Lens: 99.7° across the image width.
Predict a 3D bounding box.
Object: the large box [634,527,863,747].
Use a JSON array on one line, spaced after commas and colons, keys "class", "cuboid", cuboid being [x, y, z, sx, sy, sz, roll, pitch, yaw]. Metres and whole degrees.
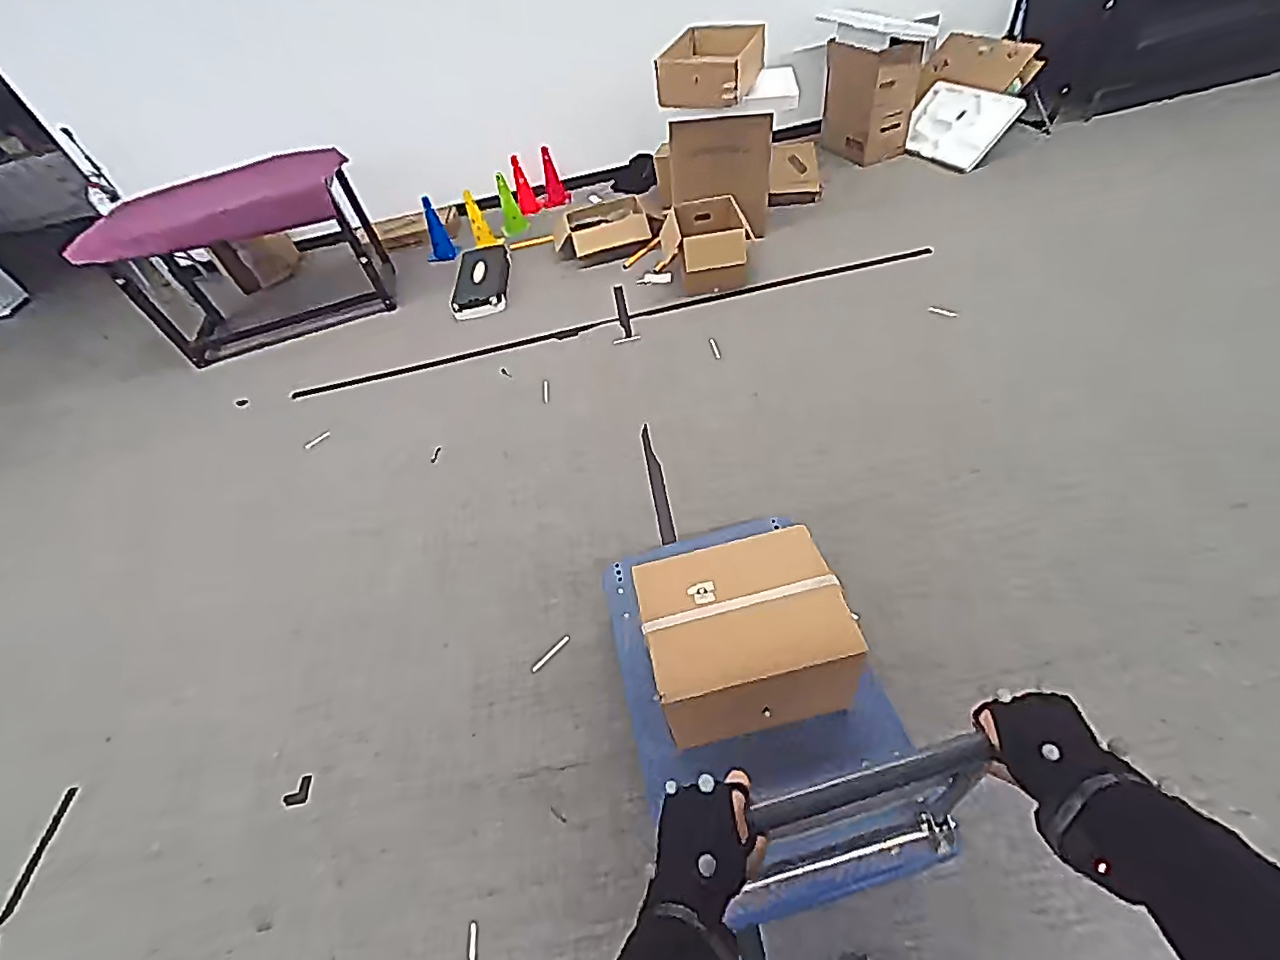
[{"class": "large box", "cuboid": [0.232, 0.362, 1.234, 0.408, 0.320, 0.320, -15, 47, -1]}]
